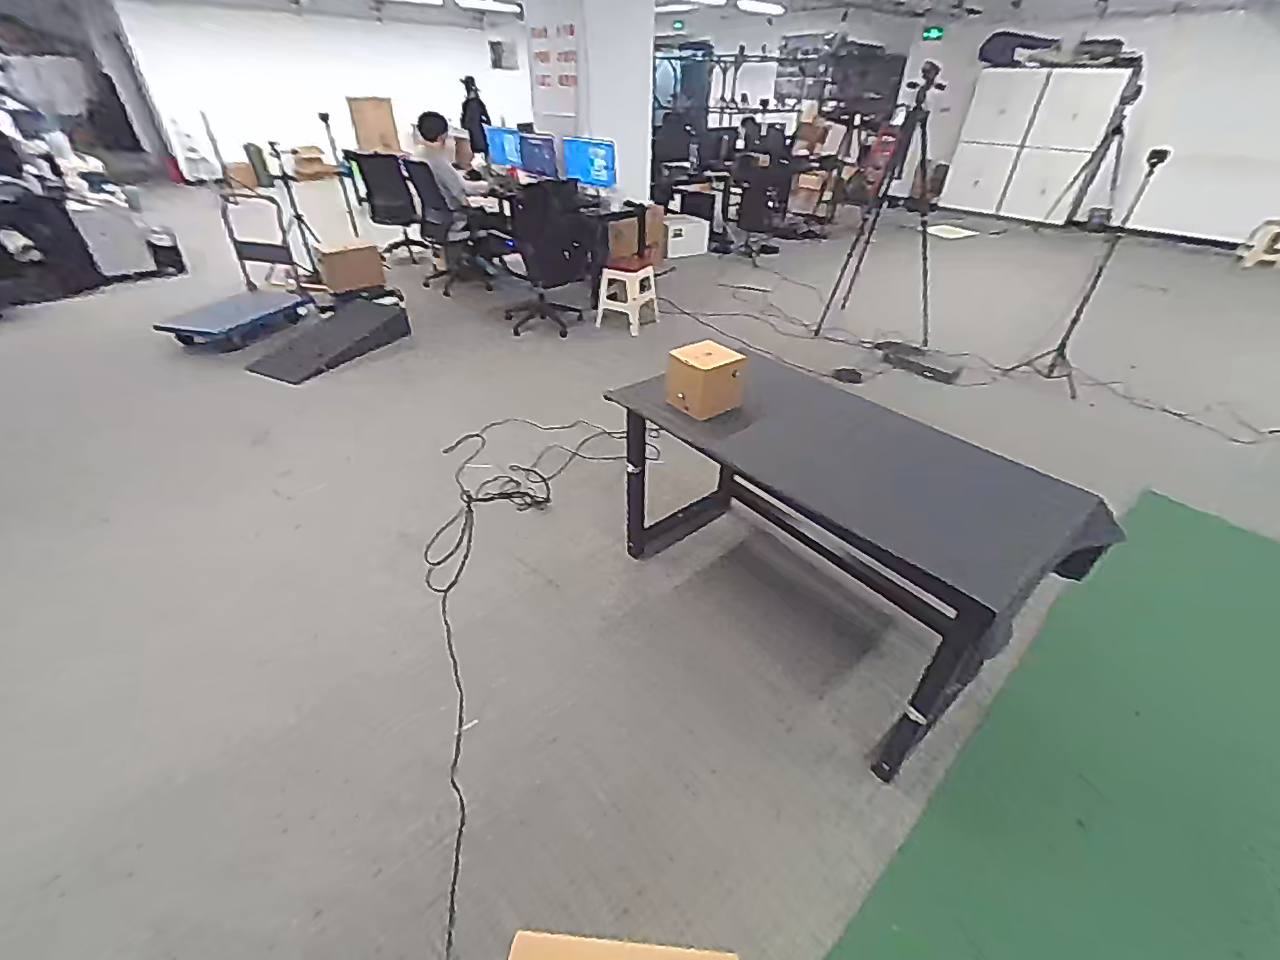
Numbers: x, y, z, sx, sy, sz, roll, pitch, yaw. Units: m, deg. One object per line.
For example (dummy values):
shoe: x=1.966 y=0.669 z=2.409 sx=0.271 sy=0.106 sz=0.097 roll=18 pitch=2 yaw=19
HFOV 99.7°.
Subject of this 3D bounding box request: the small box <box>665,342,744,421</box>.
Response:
small box: x=0.192 y=-0.304 z=1.666 sx=0.179 sy=0.176 sz=0.168 roll=-23 pitch=42 yaw=-31
